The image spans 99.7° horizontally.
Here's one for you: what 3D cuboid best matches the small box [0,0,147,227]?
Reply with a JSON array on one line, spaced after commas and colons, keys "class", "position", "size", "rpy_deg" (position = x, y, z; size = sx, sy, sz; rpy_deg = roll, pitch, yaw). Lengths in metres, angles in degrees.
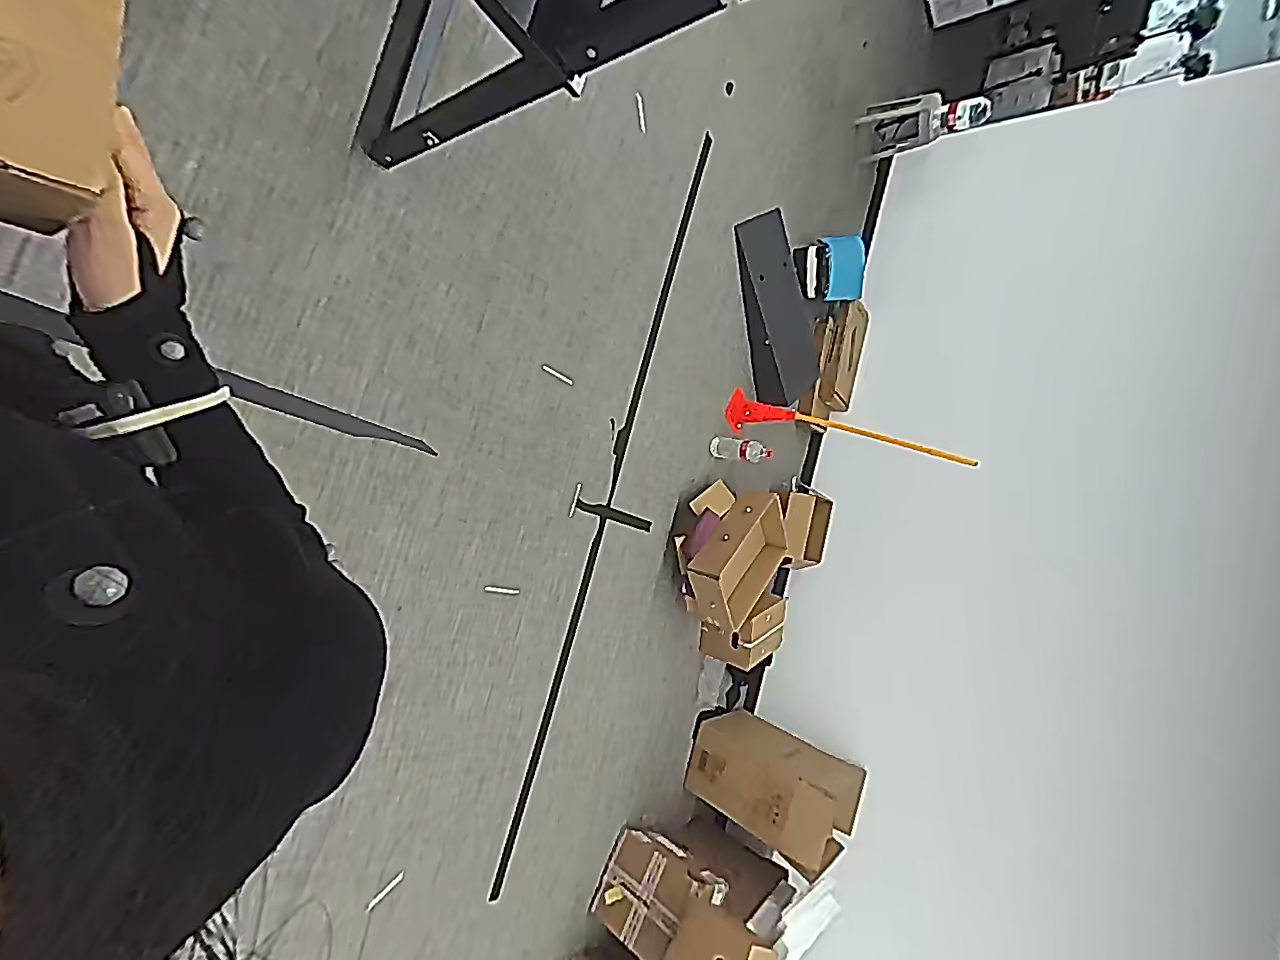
[{"class": "small box", "position": [-0.337, -0.227, 0.229], "size": [0.168, 0.176, 0.179], "rpy_deg": [3, 98, -54]}]
